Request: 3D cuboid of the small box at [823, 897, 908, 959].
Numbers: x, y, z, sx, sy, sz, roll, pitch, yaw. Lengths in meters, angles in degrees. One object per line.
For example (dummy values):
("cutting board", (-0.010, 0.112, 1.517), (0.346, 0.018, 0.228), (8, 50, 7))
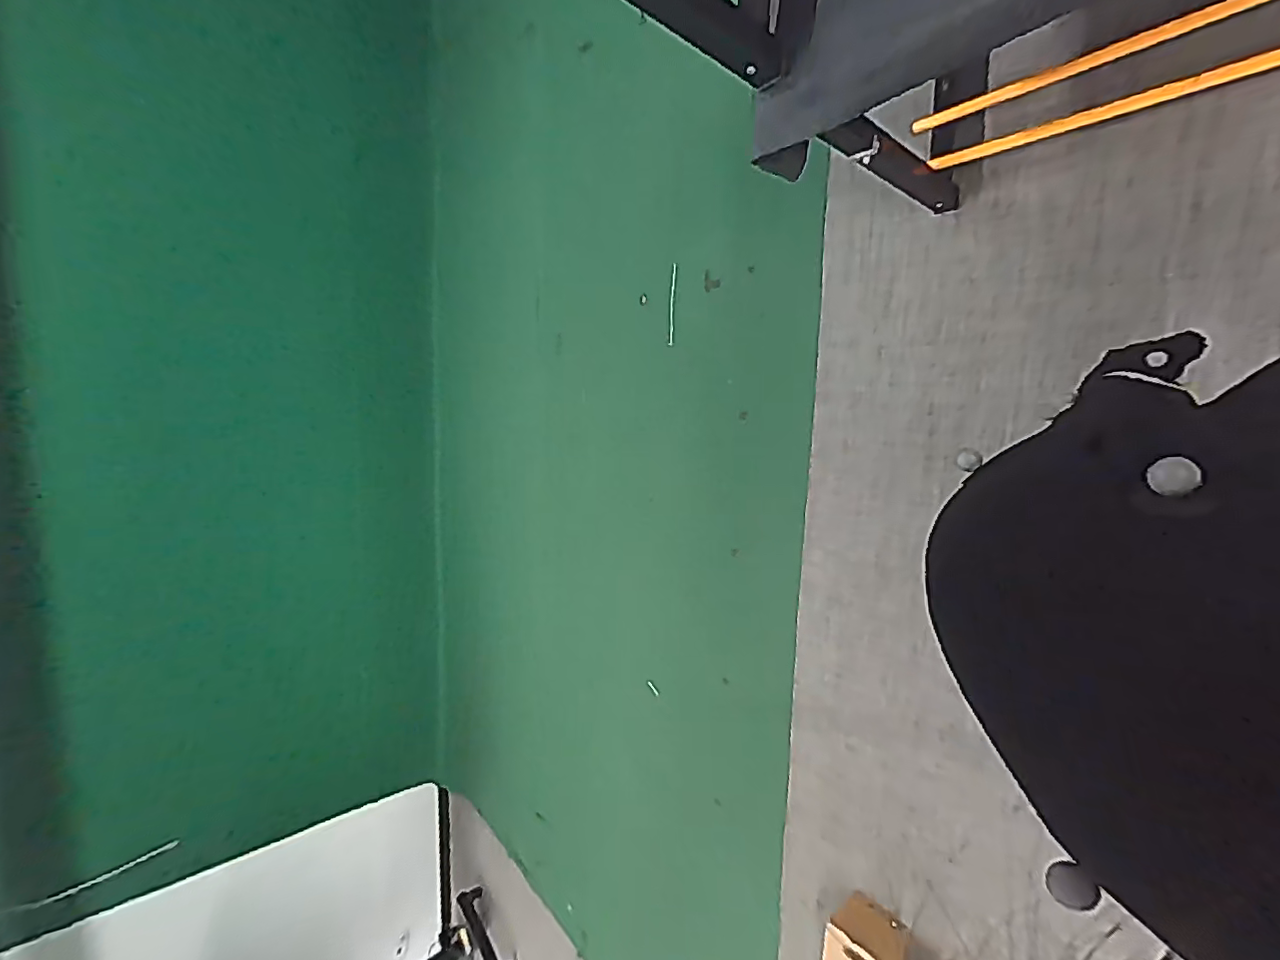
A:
("small box", (0.648, 1.363, 1.553), (0.168, 0.176, 0.179), (12, 102, 49))
